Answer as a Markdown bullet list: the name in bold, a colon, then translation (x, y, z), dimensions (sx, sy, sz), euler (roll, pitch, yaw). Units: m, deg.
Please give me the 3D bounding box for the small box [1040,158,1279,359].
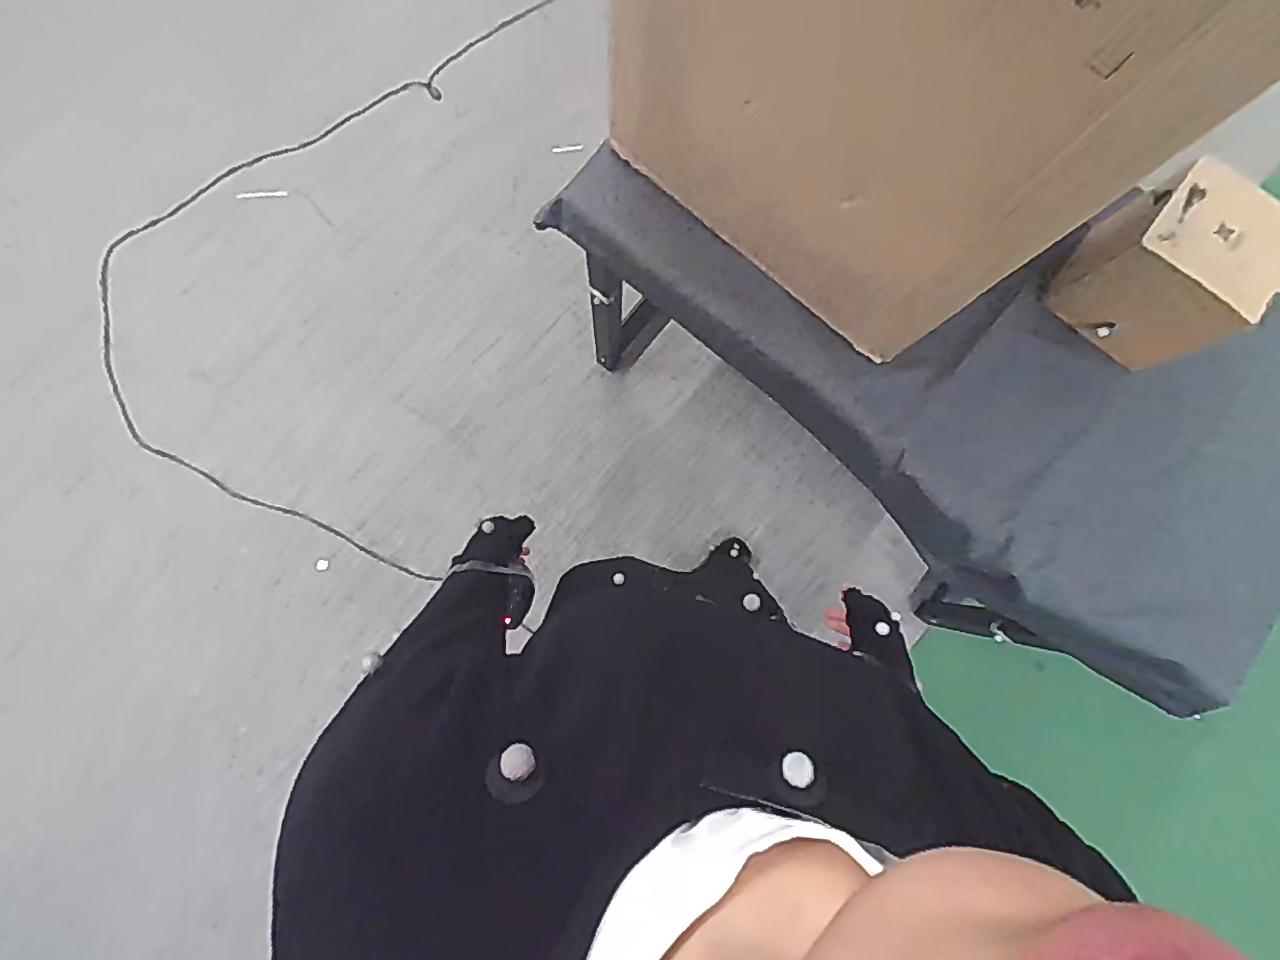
- **small box**: translation (0.738, -0.296, 0.769), dimensions (0.179, 0.176, 0.168), euler (39, 82, 4)
